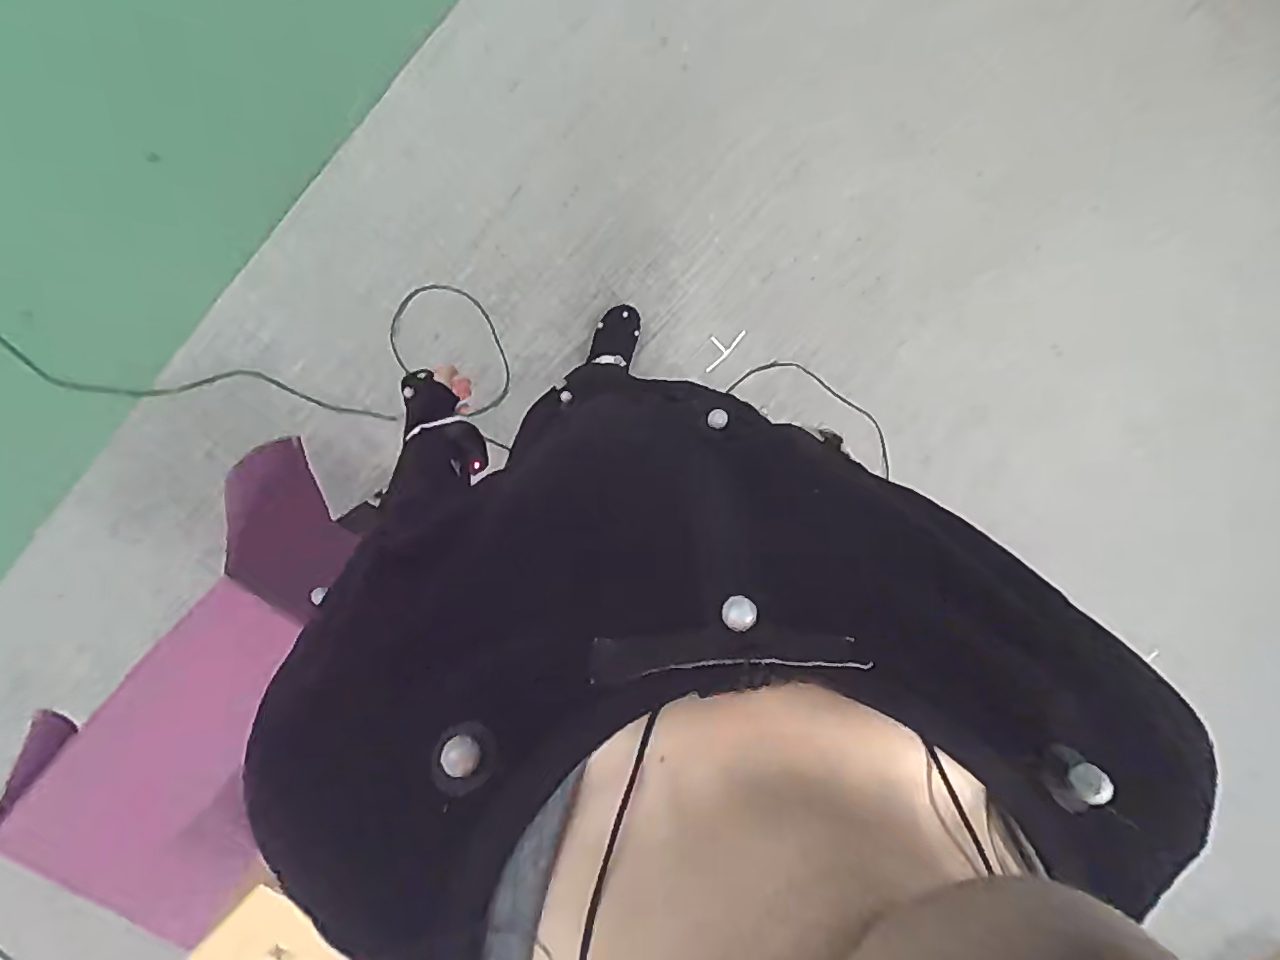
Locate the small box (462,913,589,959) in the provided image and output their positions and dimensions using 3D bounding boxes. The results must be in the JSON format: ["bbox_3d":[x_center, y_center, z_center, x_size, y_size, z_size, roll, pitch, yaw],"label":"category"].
[{"bbox_3d":[-0.196,0.863,0.876,0.179,0.176,0.168,41,98,-11],"label":"small box"}]
